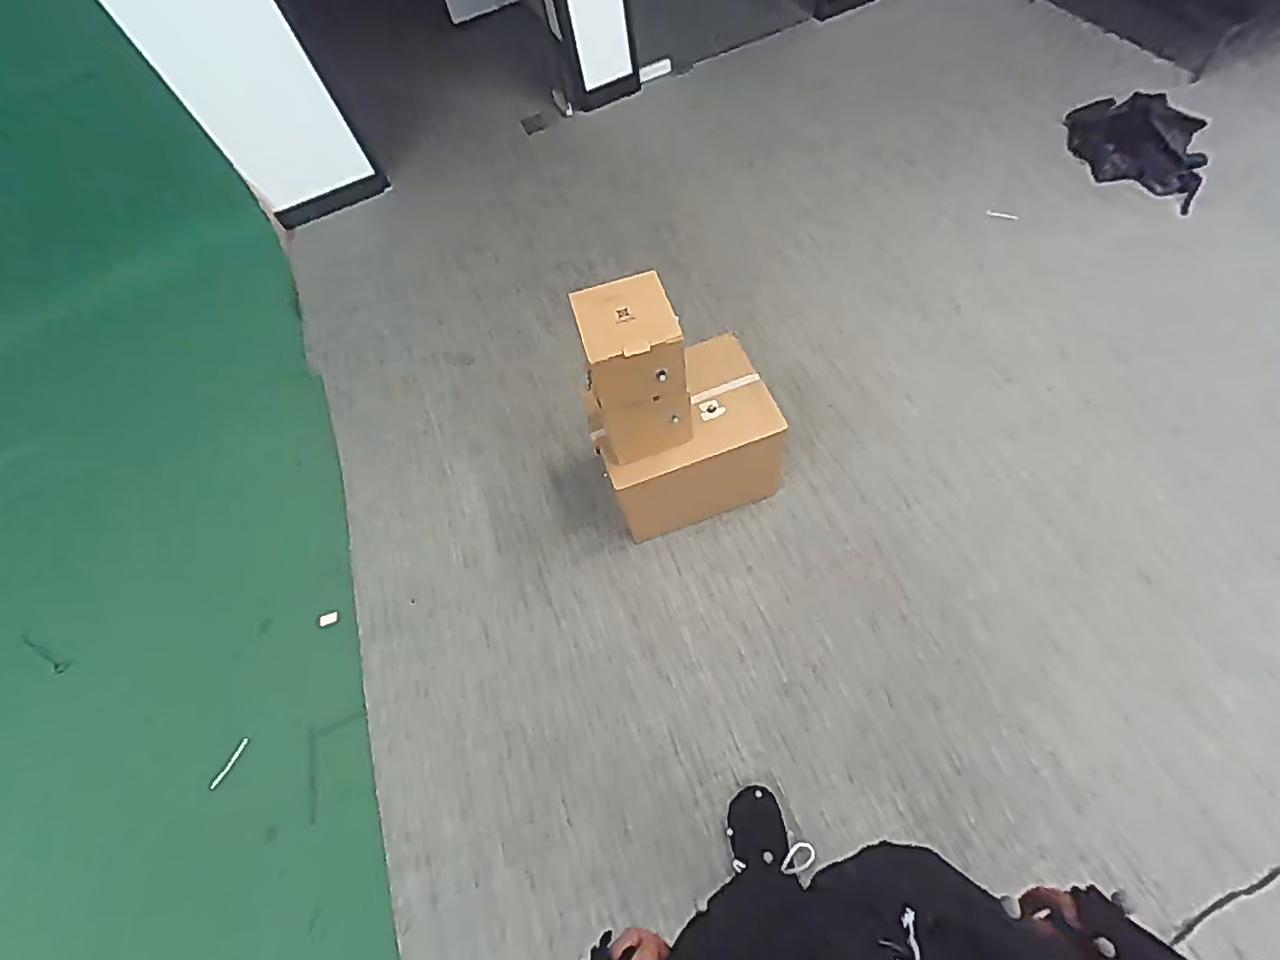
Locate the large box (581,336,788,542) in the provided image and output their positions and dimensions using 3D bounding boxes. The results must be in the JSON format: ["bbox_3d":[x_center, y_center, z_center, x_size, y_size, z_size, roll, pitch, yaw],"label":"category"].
[{"bbox_3d":[0.107,-0.092,1.365,0.408,0.320,0.320,-20,61,-3],"label":"large box"}]

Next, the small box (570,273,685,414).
[{"bbox_3d":[-0.018,-0.241,0.998,0.168,0.176,0.179,-16,59,-3],"label":"small box"}]
